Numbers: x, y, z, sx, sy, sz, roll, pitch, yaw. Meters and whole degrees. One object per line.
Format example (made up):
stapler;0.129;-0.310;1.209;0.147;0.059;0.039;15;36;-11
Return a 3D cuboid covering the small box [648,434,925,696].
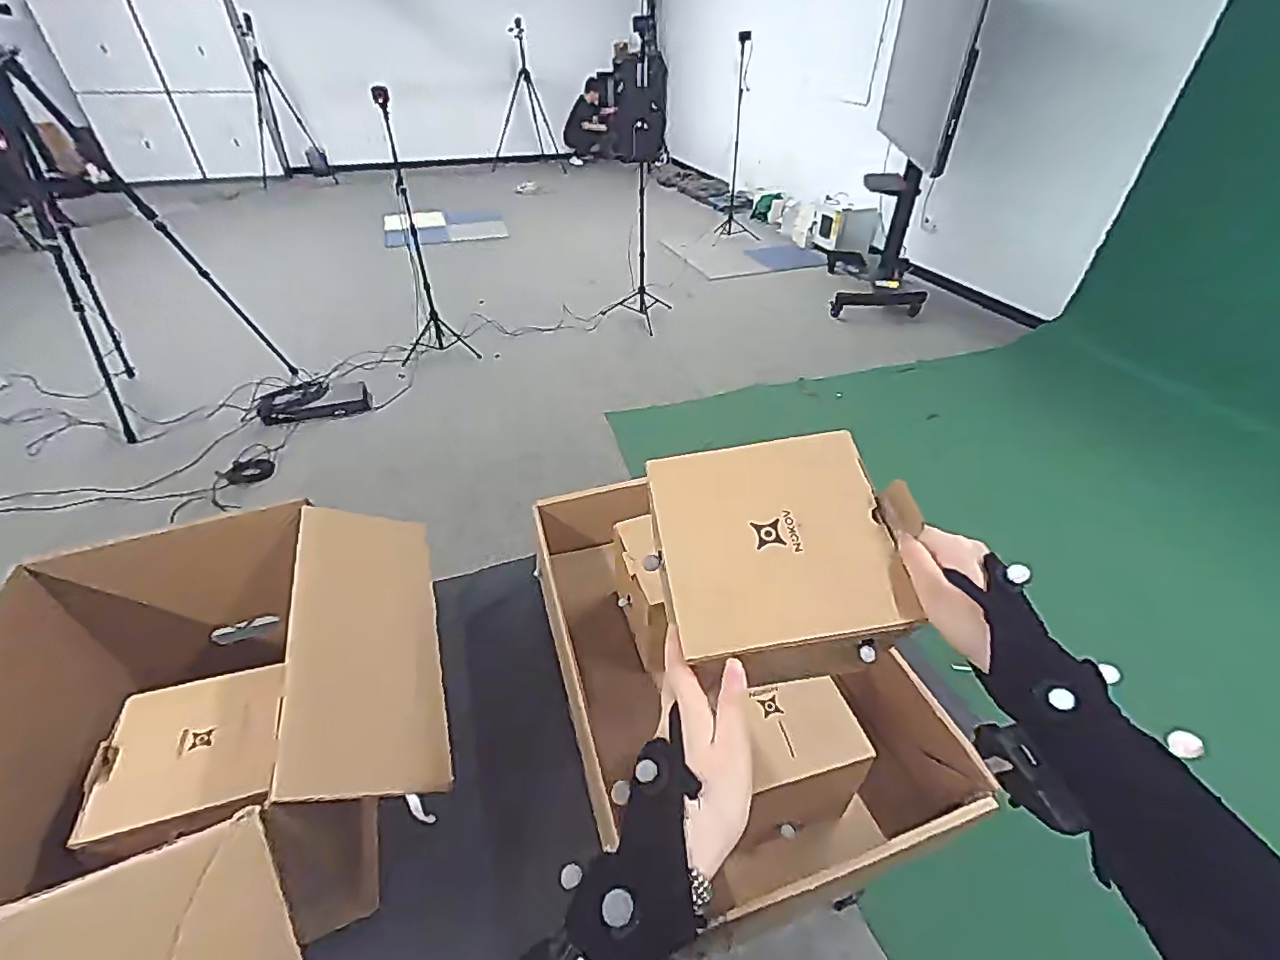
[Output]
small box;0.108;0.084;0.483;0.179;0.176;0.168;-9;59;-2
